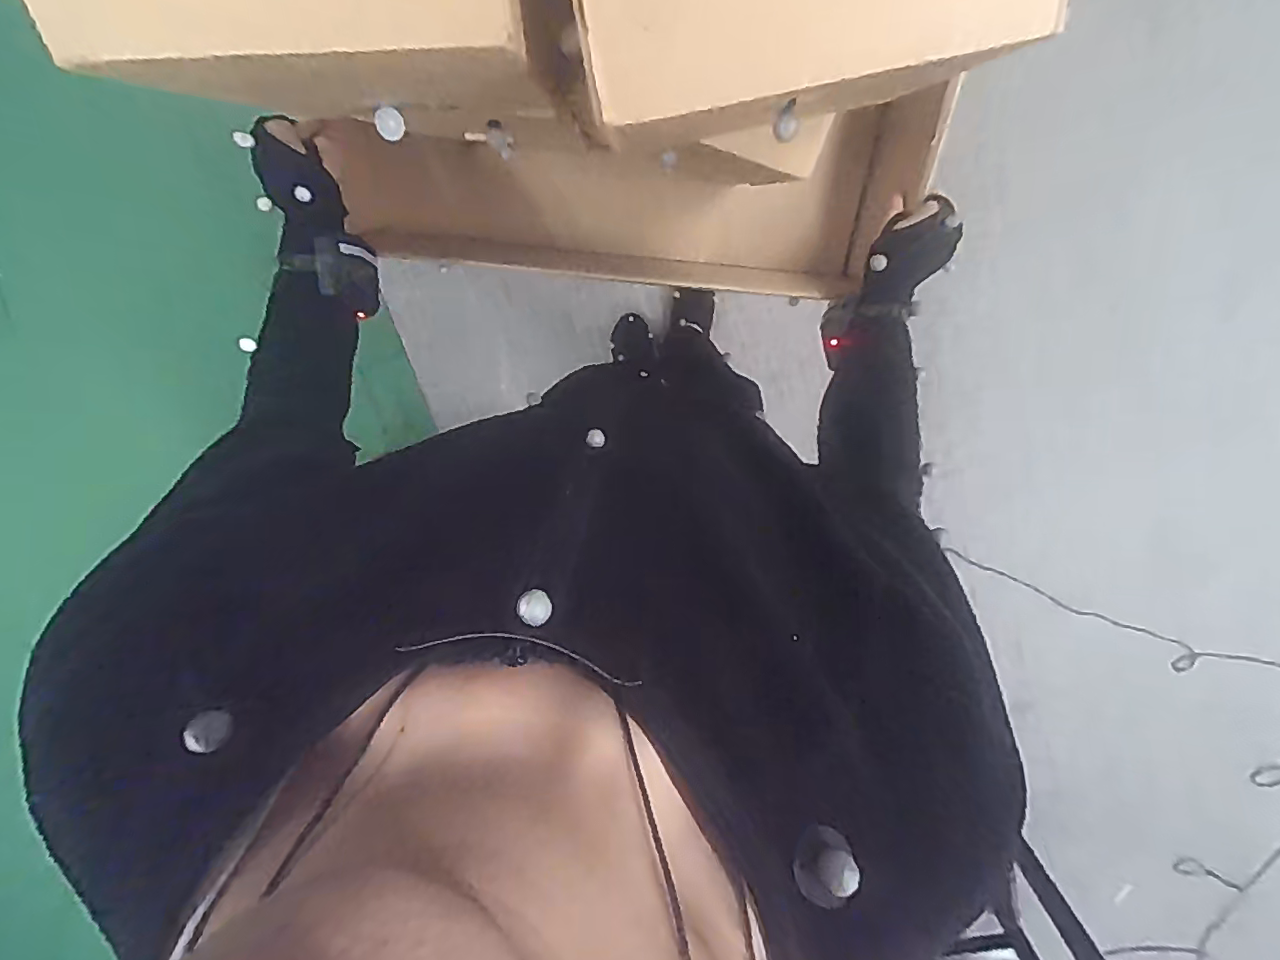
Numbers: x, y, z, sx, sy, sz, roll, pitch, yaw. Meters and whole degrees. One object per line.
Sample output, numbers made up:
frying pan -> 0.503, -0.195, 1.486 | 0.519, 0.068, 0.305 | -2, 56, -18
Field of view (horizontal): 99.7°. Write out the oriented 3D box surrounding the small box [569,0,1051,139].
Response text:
small box -> 0.055, -0.266, 0.239 | 0.179, 0.176, 0.168 | -8, 117, 5
